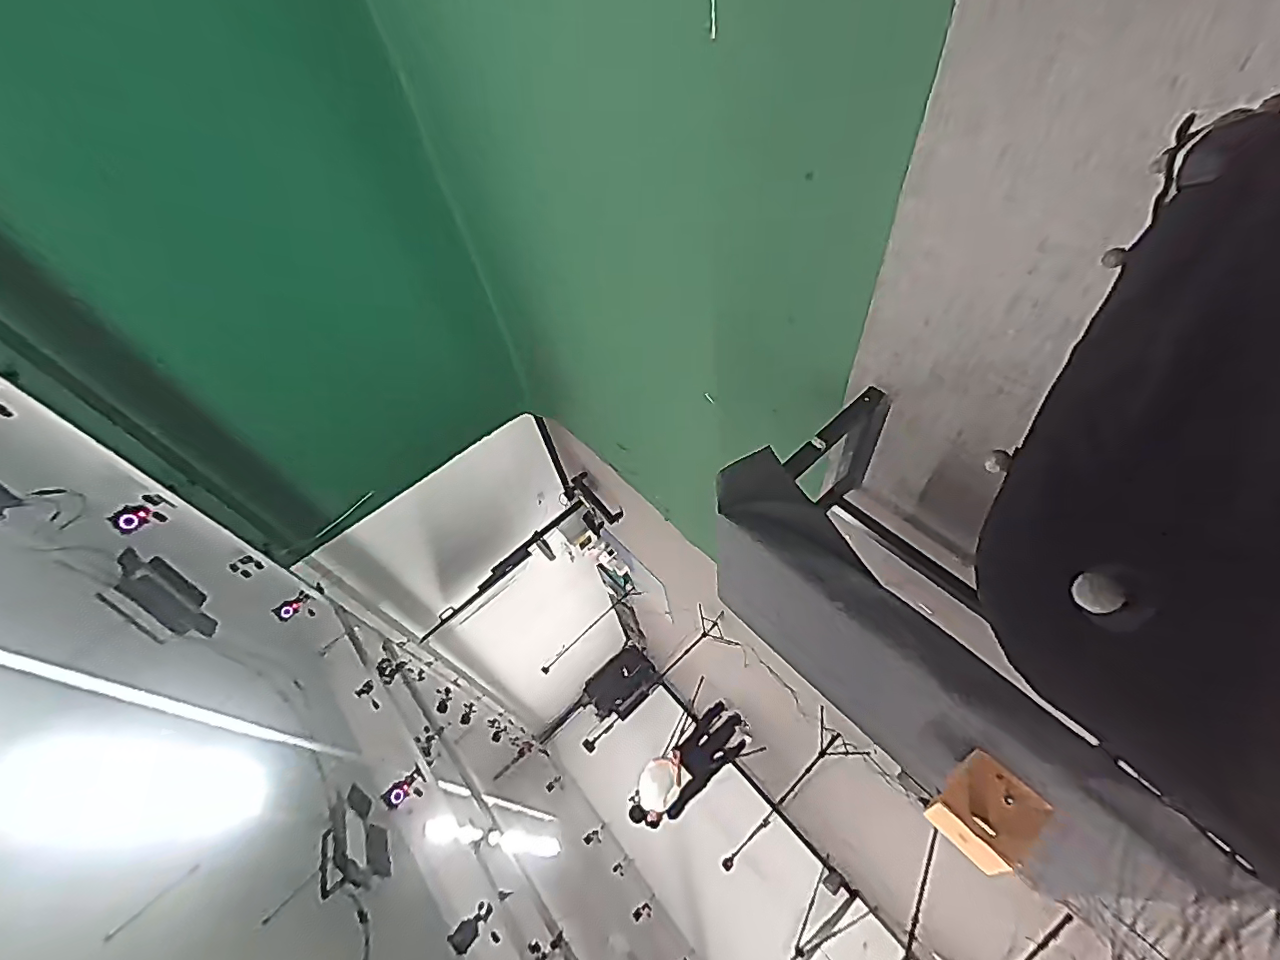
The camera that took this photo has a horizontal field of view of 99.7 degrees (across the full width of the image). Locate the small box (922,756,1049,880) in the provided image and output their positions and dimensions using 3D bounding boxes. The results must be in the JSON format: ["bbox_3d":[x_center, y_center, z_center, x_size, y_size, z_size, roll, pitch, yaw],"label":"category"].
[{"bbox_3d":[0.789,0.772,1.240,0.168,0.176,0.179,39,157,35],"label":"small box"}]
